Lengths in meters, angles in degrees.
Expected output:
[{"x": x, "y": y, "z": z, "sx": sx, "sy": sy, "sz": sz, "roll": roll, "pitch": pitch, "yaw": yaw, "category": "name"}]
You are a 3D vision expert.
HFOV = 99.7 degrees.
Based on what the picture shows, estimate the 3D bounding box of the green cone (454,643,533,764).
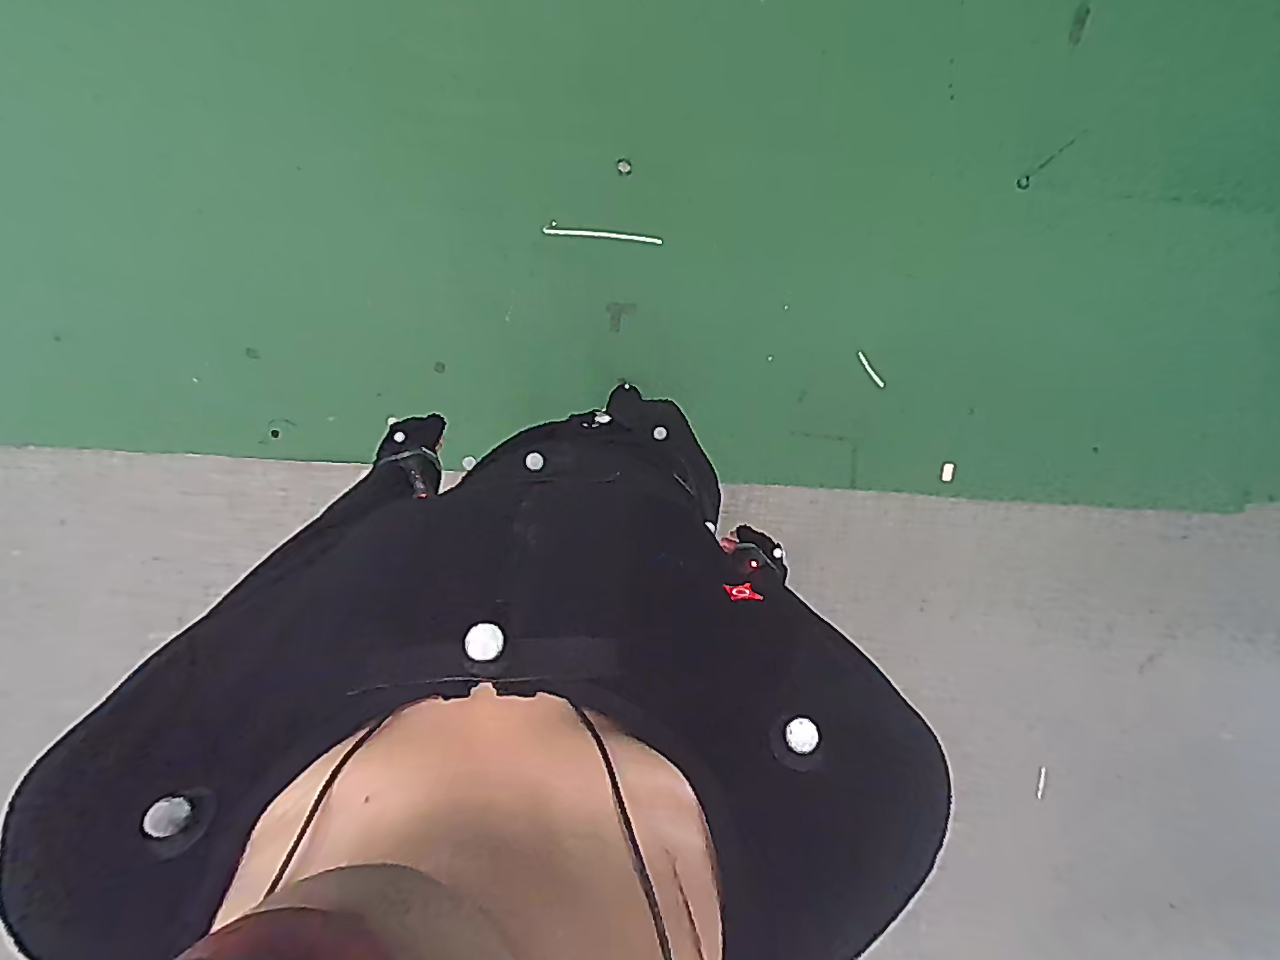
[{"x": -0.406, "y": 0.589, "z": 1.383, "sx": 0.200, "sy": 0.368, "sz": 0.202, "roll": 6, "pitch": 97, "yaw": -3, "category": "green cone"}]
